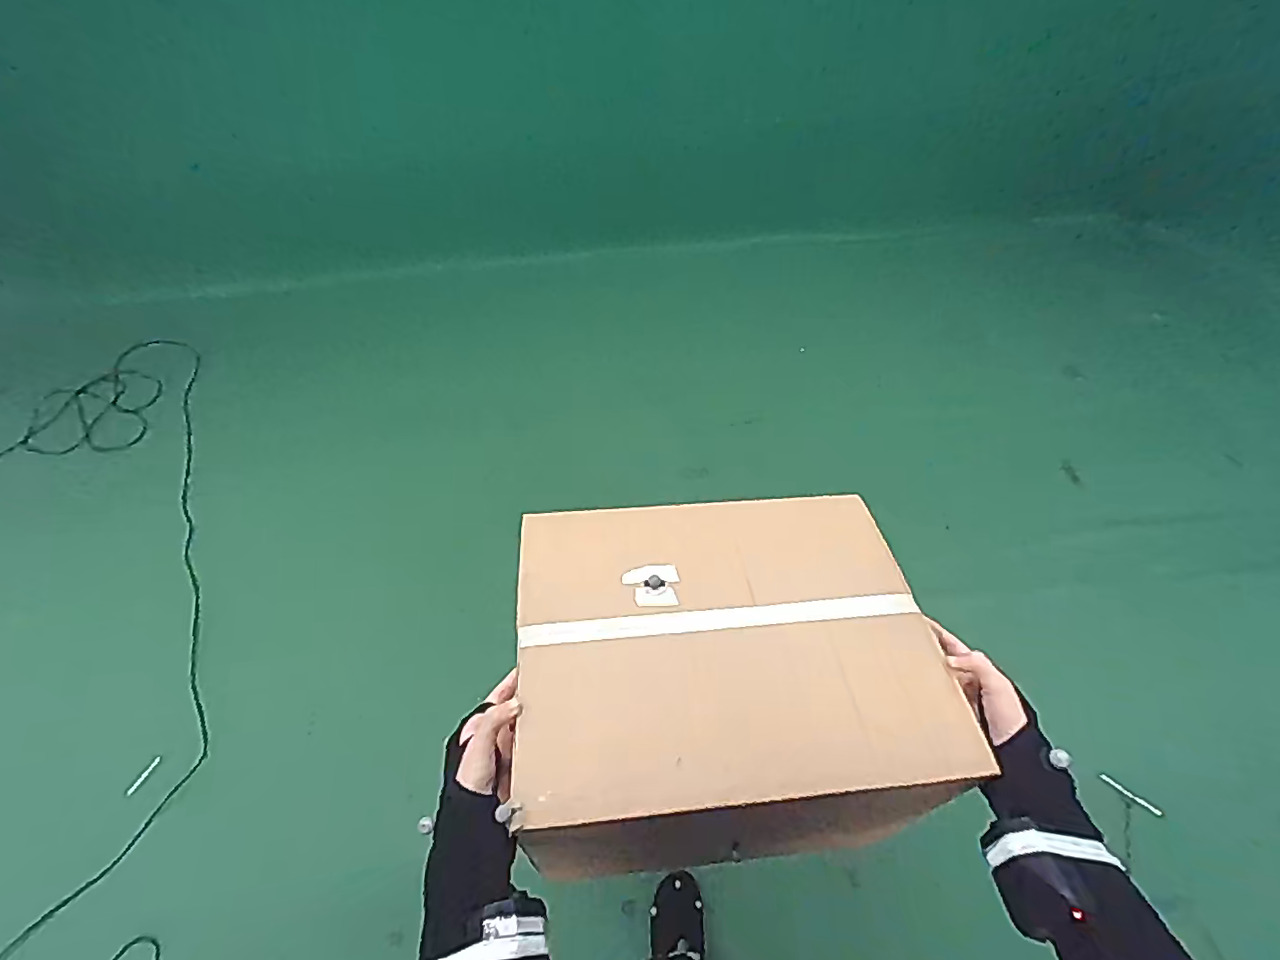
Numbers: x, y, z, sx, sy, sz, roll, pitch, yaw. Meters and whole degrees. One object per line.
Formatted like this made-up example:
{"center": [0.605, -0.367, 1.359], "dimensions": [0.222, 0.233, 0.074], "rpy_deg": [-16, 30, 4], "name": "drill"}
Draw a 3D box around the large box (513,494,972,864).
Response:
{"center": [0.076, 0.243, 0.658], "dimensions": [0.408, 0.320, 0.320], "rpy_deg": [-4, 48, -5], "name": "large box"}
